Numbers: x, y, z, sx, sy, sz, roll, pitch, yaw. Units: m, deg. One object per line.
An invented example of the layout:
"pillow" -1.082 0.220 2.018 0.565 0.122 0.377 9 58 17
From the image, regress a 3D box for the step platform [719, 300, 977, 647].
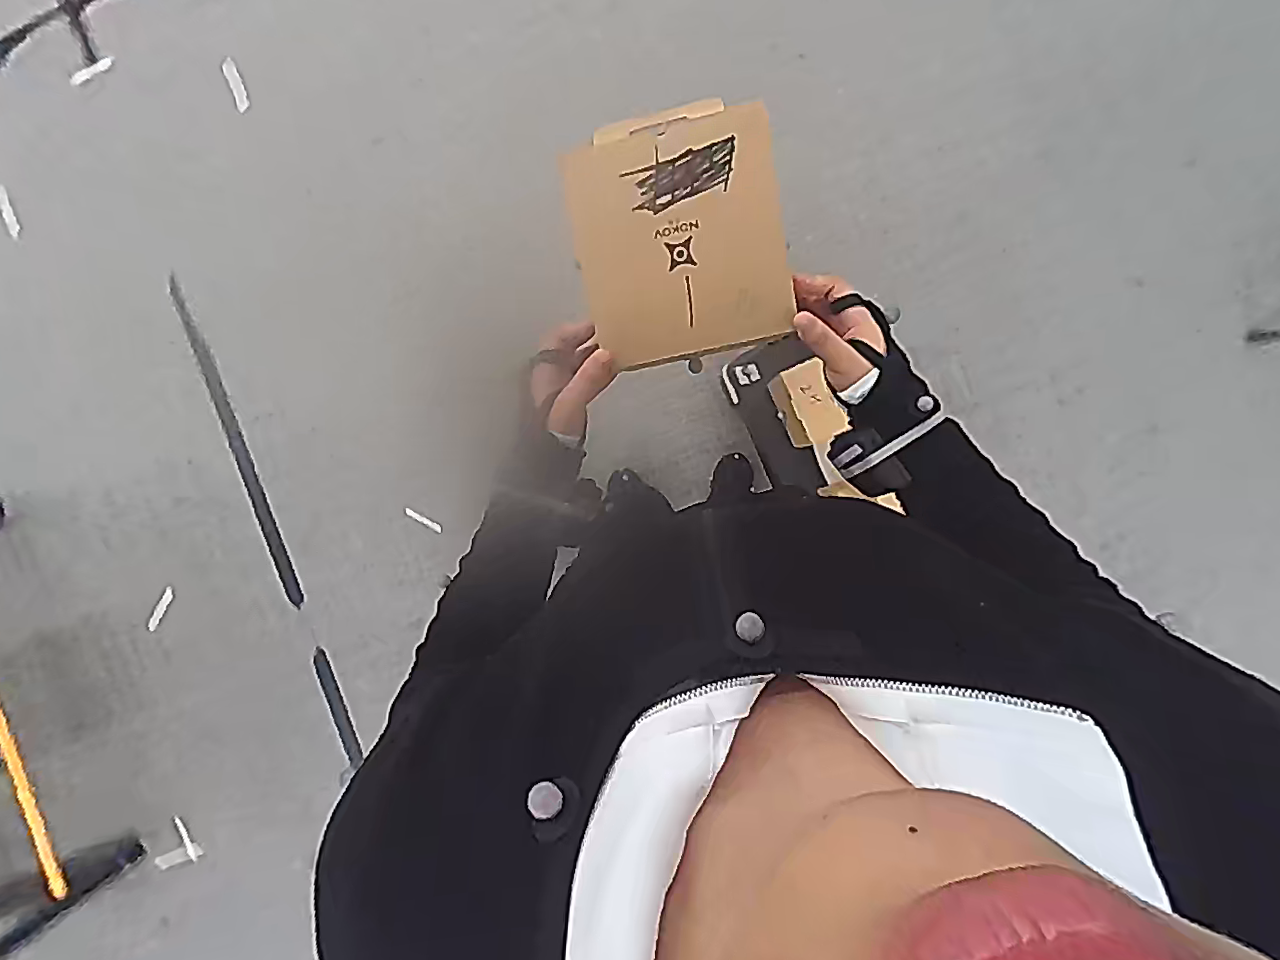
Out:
"step platform" 0.422 -0.012 1.161 0.286 0.204 0.684 -23 91 4

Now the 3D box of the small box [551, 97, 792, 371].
"small box" 0.033 -0.204 0.506 0.168 0.176 0.179 -12 100 8

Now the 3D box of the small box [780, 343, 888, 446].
"small box" 0.405 -0.183 1.192 0.179 0.176 0.168 -23 90 4

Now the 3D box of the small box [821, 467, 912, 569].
"small box" 0.516 0.075 1.194 0.168 0.176 0.179 -20 90 4
